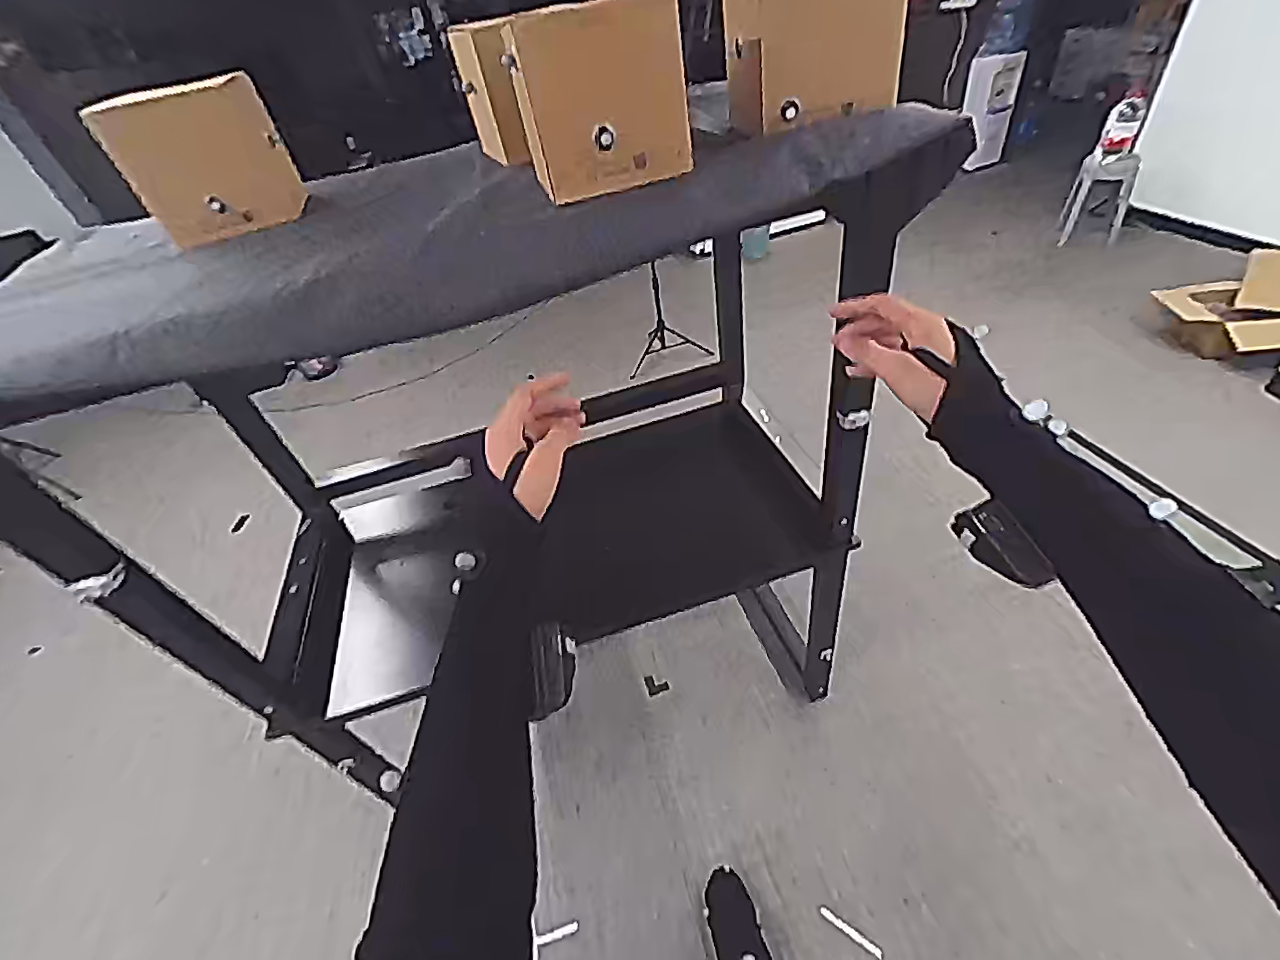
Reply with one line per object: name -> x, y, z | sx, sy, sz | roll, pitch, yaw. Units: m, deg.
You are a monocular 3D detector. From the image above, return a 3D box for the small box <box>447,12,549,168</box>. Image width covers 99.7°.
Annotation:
small box -> -0.178, -0.603, 0.839 | 0.168, 0.176, 0.179 | -24, 43, -13

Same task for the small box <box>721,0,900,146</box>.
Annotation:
small box -> 0.204, -0.531, 0.668 | 0.168, 0.176, 0.179 | -12, 40, 1

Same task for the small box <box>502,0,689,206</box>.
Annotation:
small box -> -0.051, -0.434, 0.625 | 0.168, 0.176, 0.179 | -17, 41, -6
